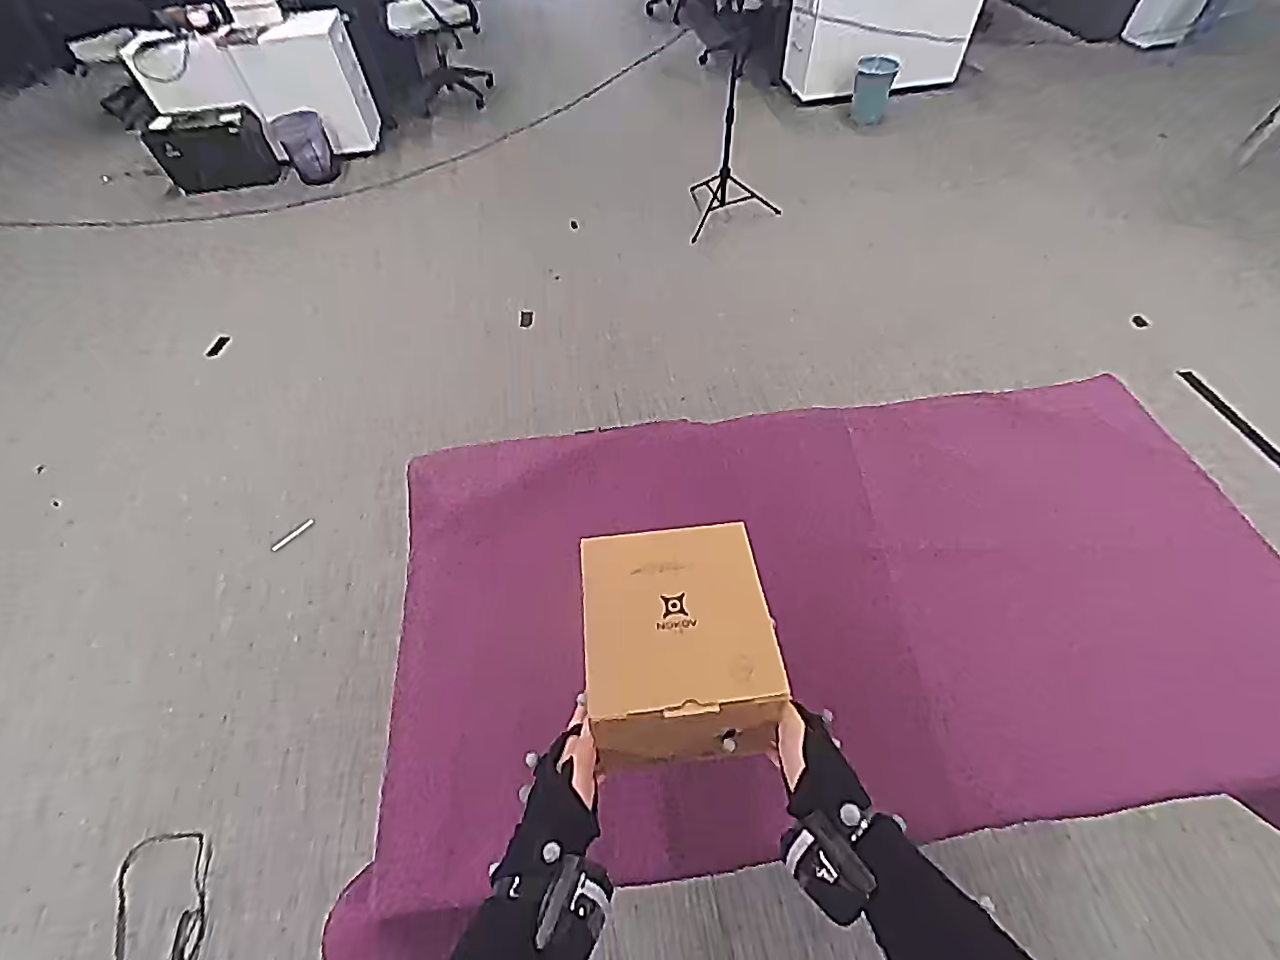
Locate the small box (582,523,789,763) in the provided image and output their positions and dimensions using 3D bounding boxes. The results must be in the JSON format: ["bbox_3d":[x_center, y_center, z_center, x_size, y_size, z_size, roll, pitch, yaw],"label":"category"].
[{"bbox_3d":[0.035,0.167,0.538,0.168,0.176,0.179,-5,50,-3],"label":"small box"}]
